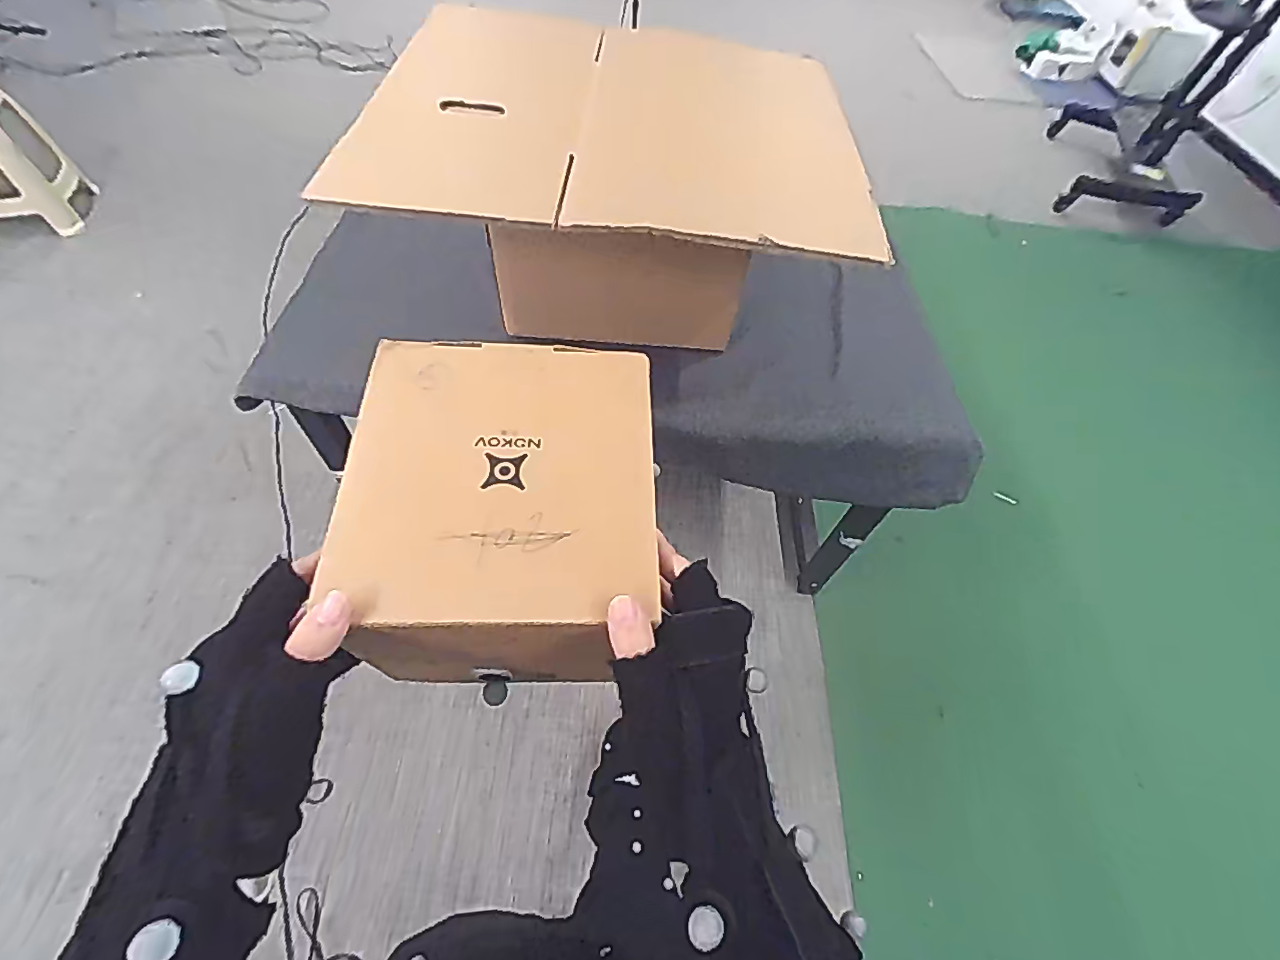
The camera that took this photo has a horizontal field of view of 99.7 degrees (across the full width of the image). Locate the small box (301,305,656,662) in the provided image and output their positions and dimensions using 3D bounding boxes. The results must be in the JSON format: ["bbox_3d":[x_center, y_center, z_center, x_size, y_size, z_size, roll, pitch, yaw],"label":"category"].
[{"bbox_3d":[-0.084,0.013,0.361,0.168,0.176,0.179,2,61,-6],"label":"small box"}]
